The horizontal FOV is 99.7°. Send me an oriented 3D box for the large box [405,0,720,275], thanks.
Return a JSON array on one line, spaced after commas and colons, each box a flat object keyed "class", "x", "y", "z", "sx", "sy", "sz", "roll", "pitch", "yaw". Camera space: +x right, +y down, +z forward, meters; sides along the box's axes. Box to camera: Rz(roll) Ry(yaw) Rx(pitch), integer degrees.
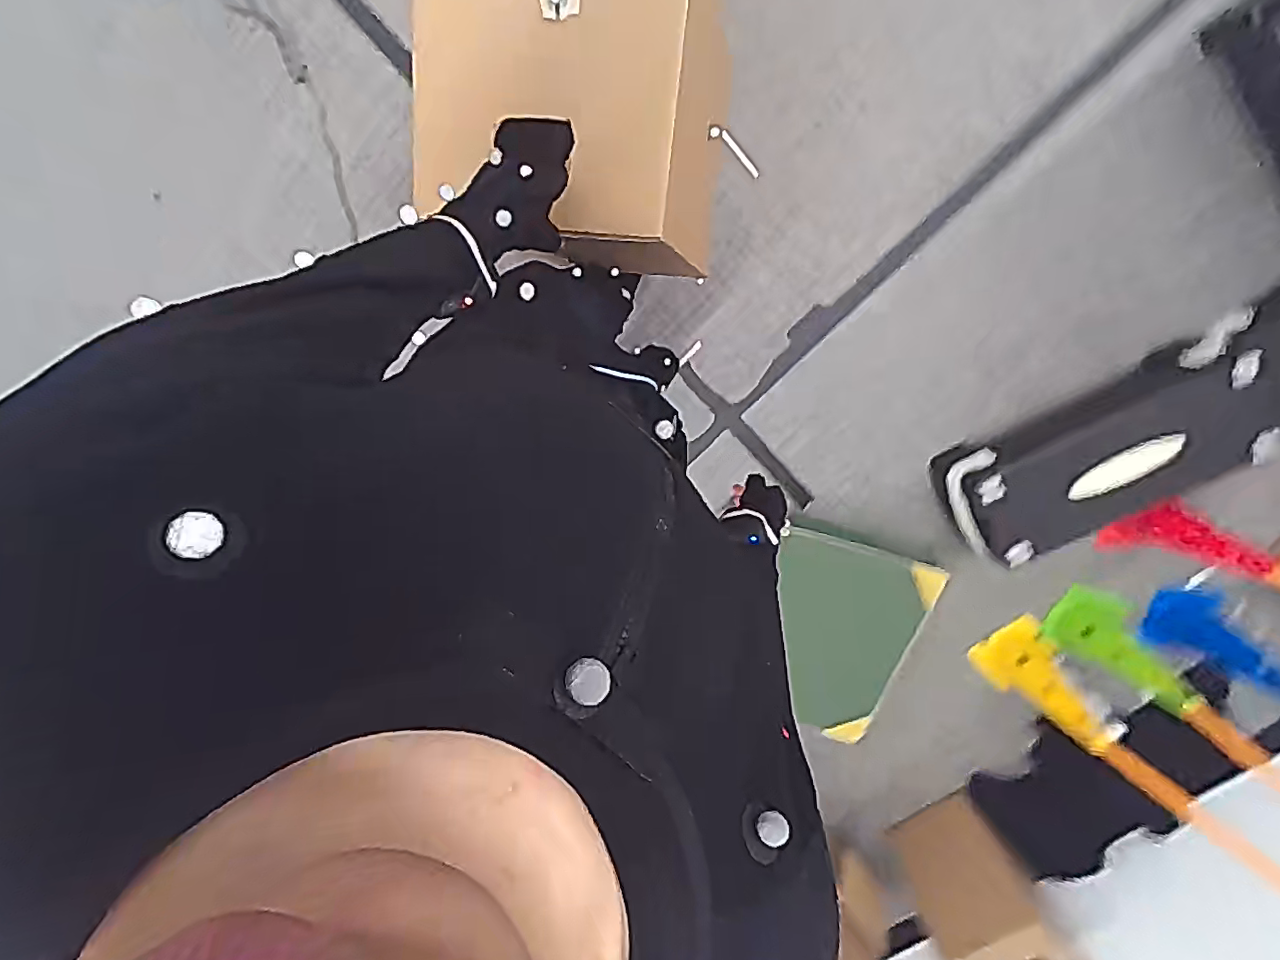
[{"class": "large box", "x": -0.075, "y": -0.484, "z": 0.774, "sx": 0.320, "sy": 0.408, "sz": 0.320, "roll": 10, "pitch": 108, "yaw": 12}]
